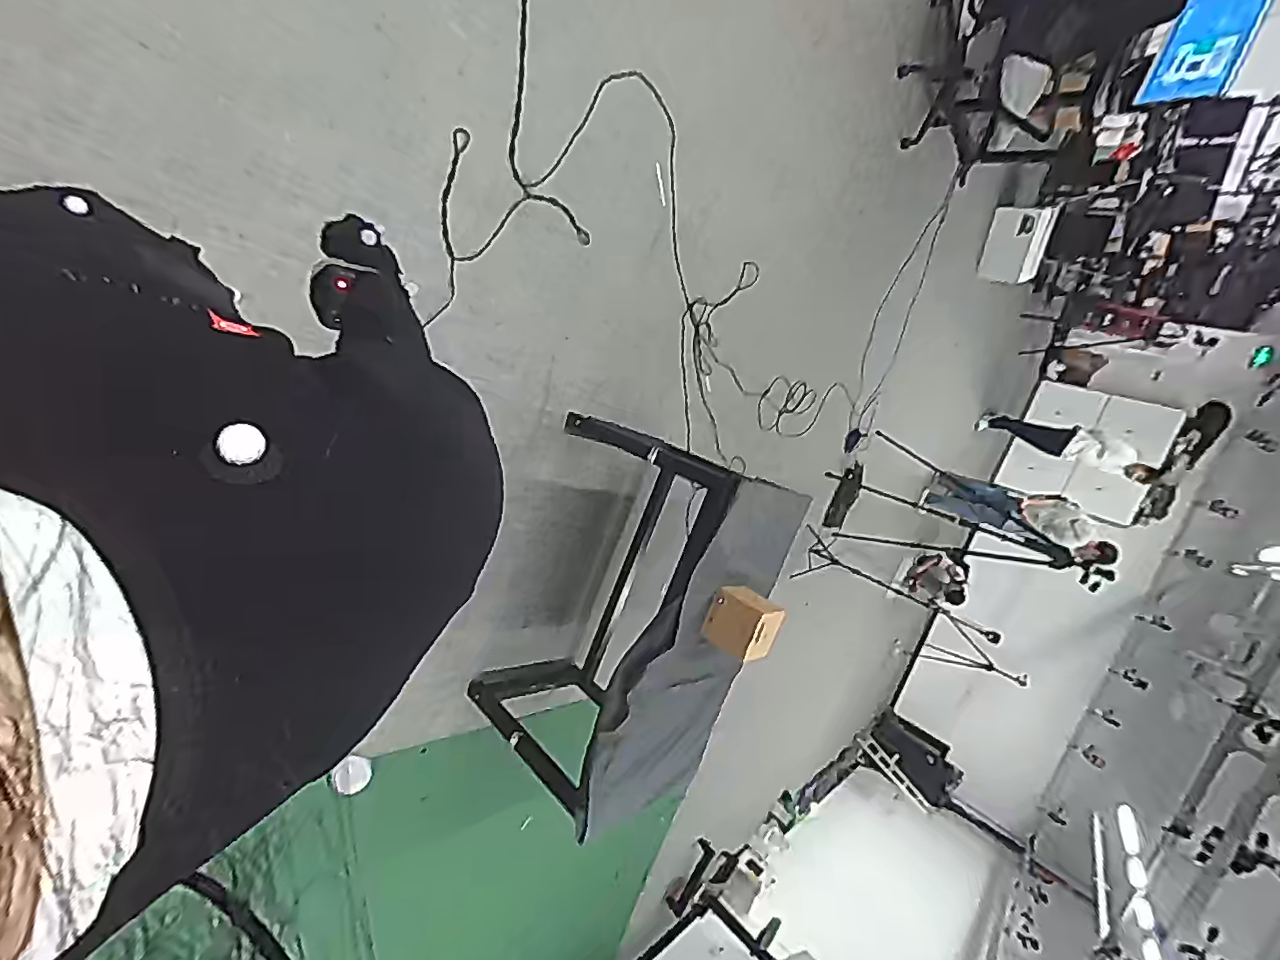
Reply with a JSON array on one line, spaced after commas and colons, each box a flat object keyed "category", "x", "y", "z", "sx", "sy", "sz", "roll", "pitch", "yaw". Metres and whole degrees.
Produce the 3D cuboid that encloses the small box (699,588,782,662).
[{"category": "small box", "x": 0.315, "y": 0.452, "z": 1.712, "sx": 0.179, "sy": 0.176, "sz": 0.168, "roll": 13, "pitch": 101, "yaw": -52}]
